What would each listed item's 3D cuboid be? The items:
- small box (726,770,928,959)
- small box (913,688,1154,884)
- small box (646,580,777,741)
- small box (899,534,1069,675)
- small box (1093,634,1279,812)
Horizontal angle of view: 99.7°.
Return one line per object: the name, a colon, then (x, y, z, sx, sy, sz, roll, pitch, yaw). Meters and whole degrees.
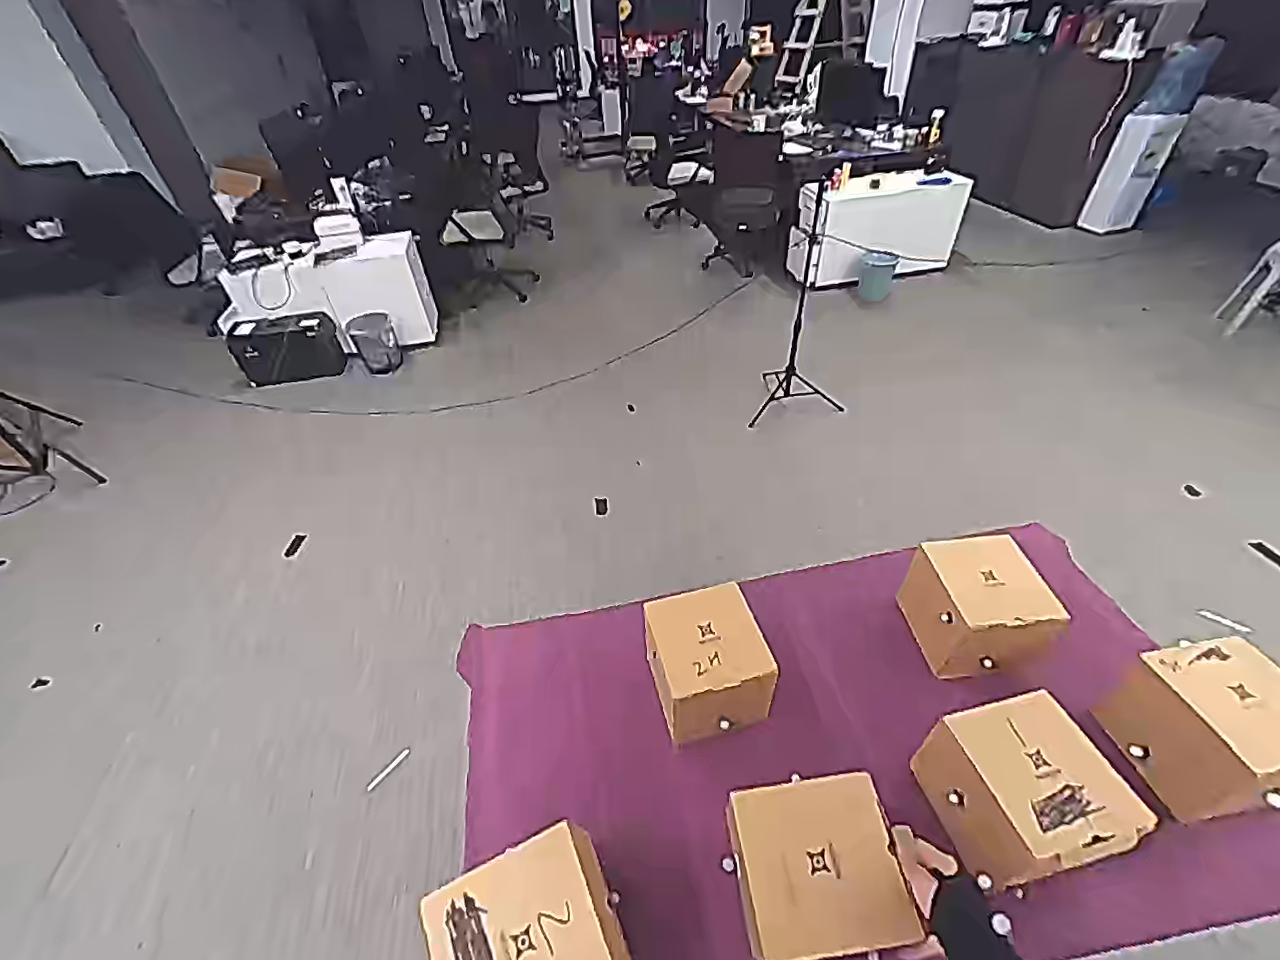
small box: (0.213, 0.478, 0.674, 0.179, 0.176, 0.168, -8, 50, -1)
small box: (0.511, 0.419, 0.736, 0.168, 0.176, 0.179, -11, 41, -7)
small box: (0.109, 0.301, 0.905, 0.168, 0.176, 0.179, -12, 43, -8)
small box: (0.588, 0.219, 0.956, 0.168, 0.176, 0.179, -6, 43, -1)
small box: (0.824, 0.353, 0.779, 0.168, 0.176, 0.179, -8, 40, -4)
